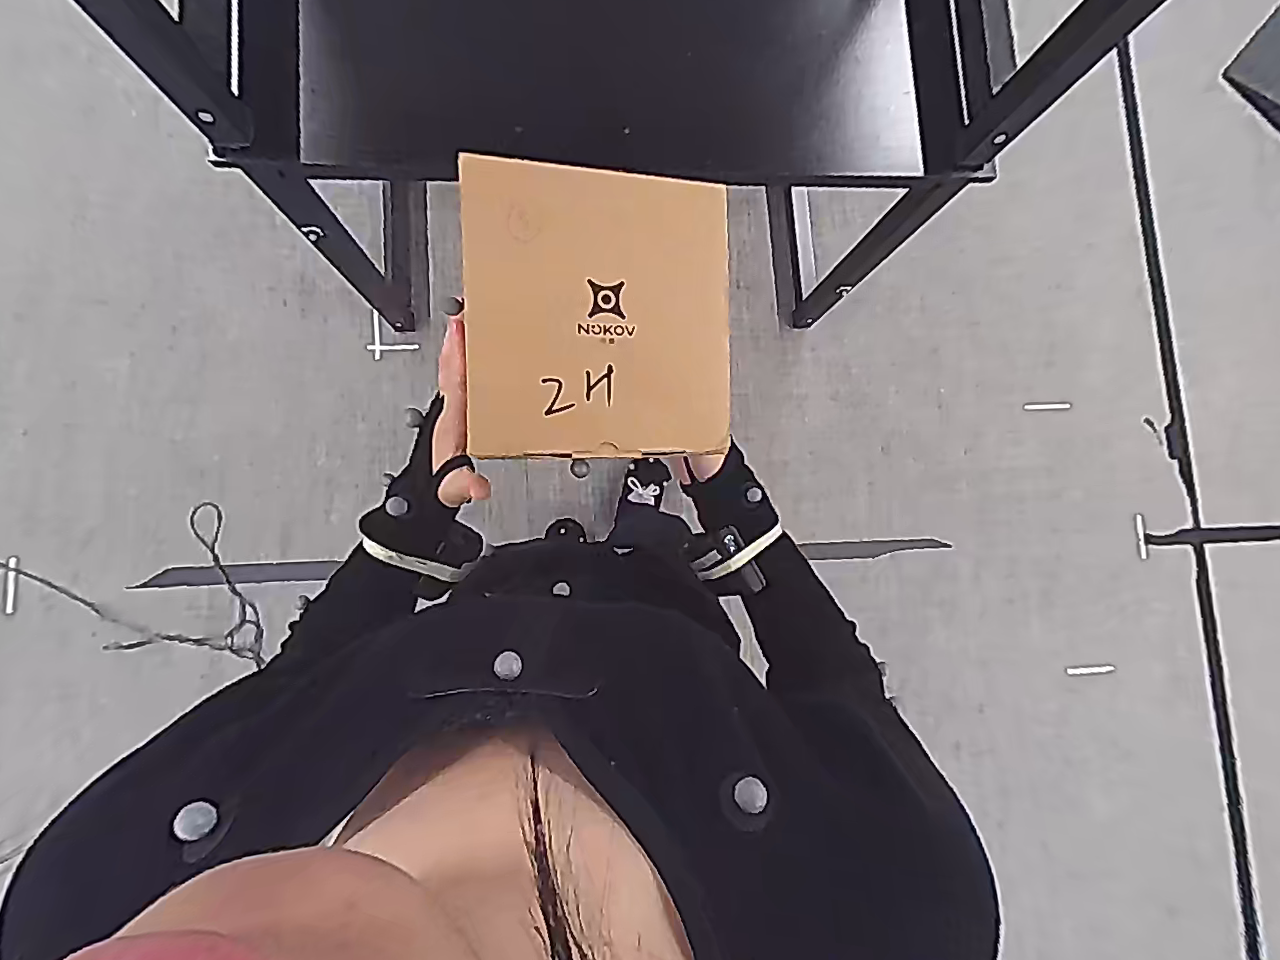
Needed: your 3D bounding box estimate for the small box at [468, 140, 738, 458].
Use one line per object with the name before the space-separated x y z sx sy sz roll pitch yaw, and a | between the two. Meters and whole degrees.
small box | -0.038 -0.106 0.399 0.168 0.176 0.179 -2 93 -15
